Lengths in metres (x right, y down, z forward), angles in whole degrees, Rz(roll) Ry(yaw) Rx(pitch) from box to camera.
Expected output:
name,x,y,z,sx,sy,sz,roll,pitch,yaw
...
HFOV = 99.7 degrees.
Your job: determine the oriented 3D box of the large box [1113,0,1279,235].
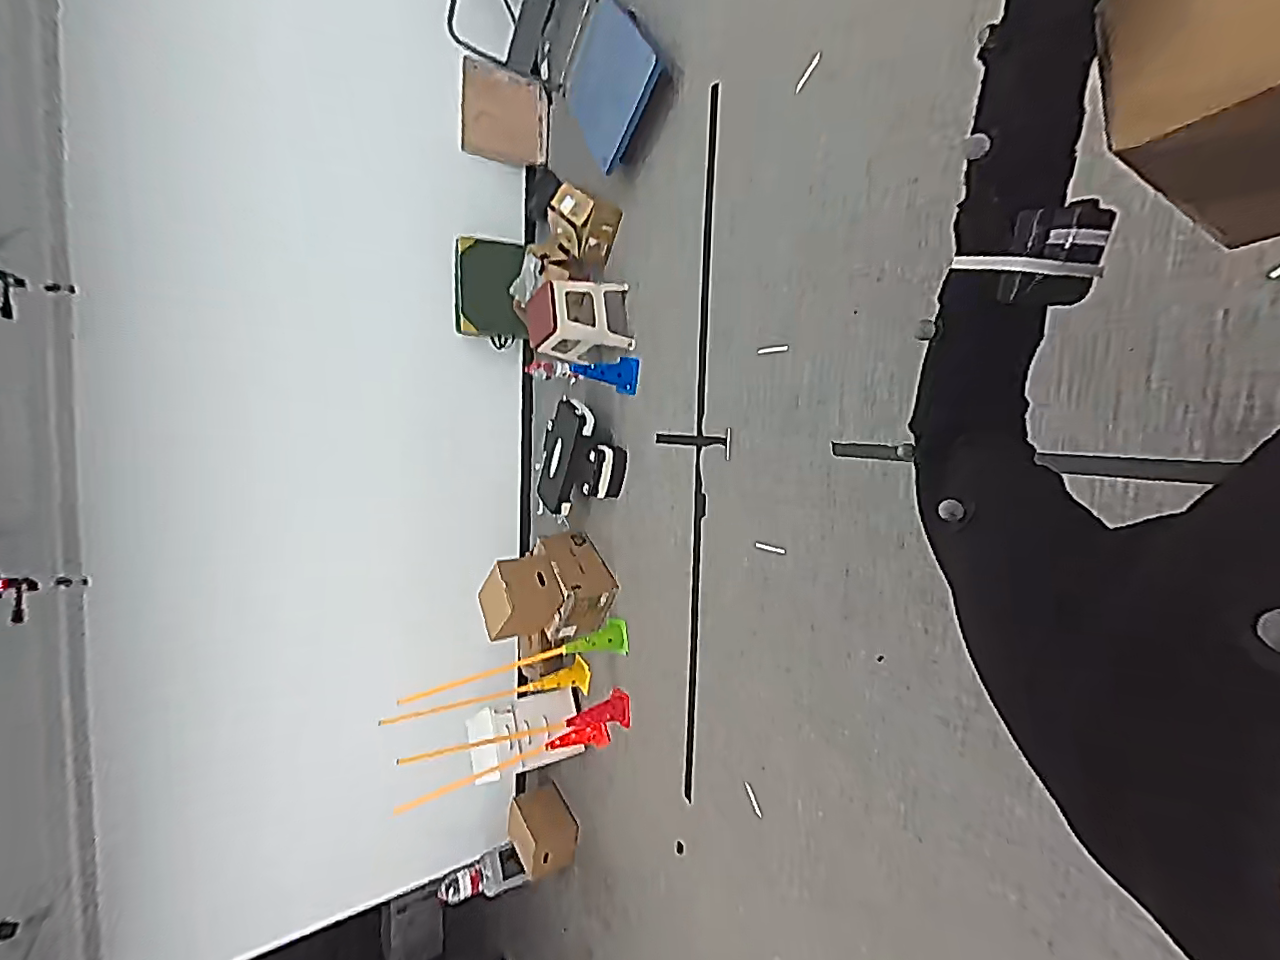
name,x,y,z,sx,sy,sz,roll,pitch,yaw
large box,0.525,-0.383,0.262,0.408,0.320,0.320,-6,88,56
